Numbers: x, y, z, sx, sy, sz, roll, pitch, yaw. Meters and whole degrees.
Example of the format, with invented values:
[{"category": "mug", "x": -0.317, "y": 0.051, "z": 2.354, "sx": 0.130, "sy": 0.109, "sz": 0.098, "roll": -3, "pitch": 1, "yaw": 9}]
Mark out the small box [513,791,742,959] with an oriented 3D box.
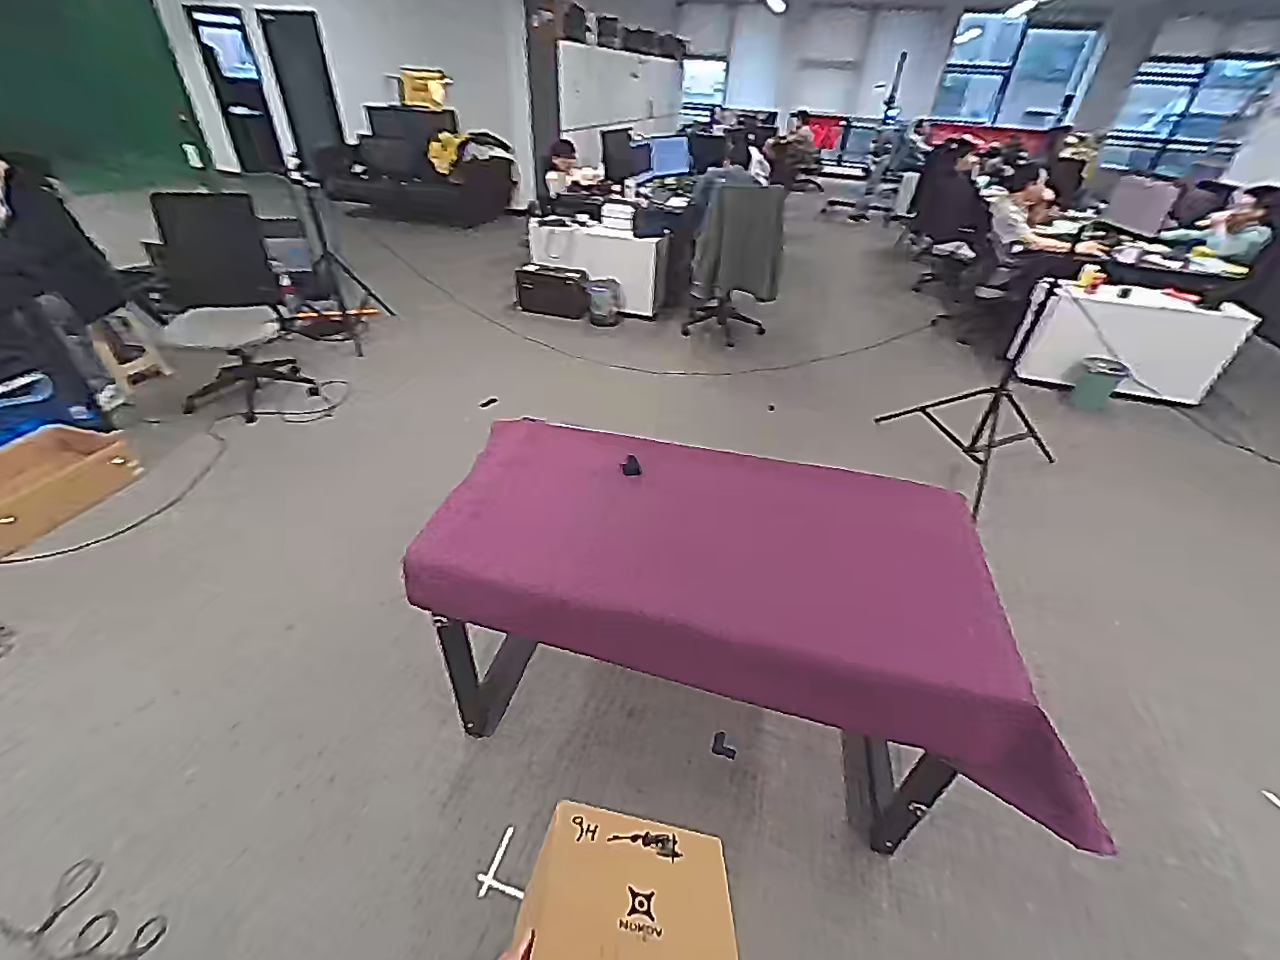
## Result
[{"category": "small box", "x": -0.020, "y": 0.418, "z": 0.463, "sx": 0.168, "sy": 0.176, "sz": 0.179, "roll": 17, "pitch": 18, "yaw": -4}]
